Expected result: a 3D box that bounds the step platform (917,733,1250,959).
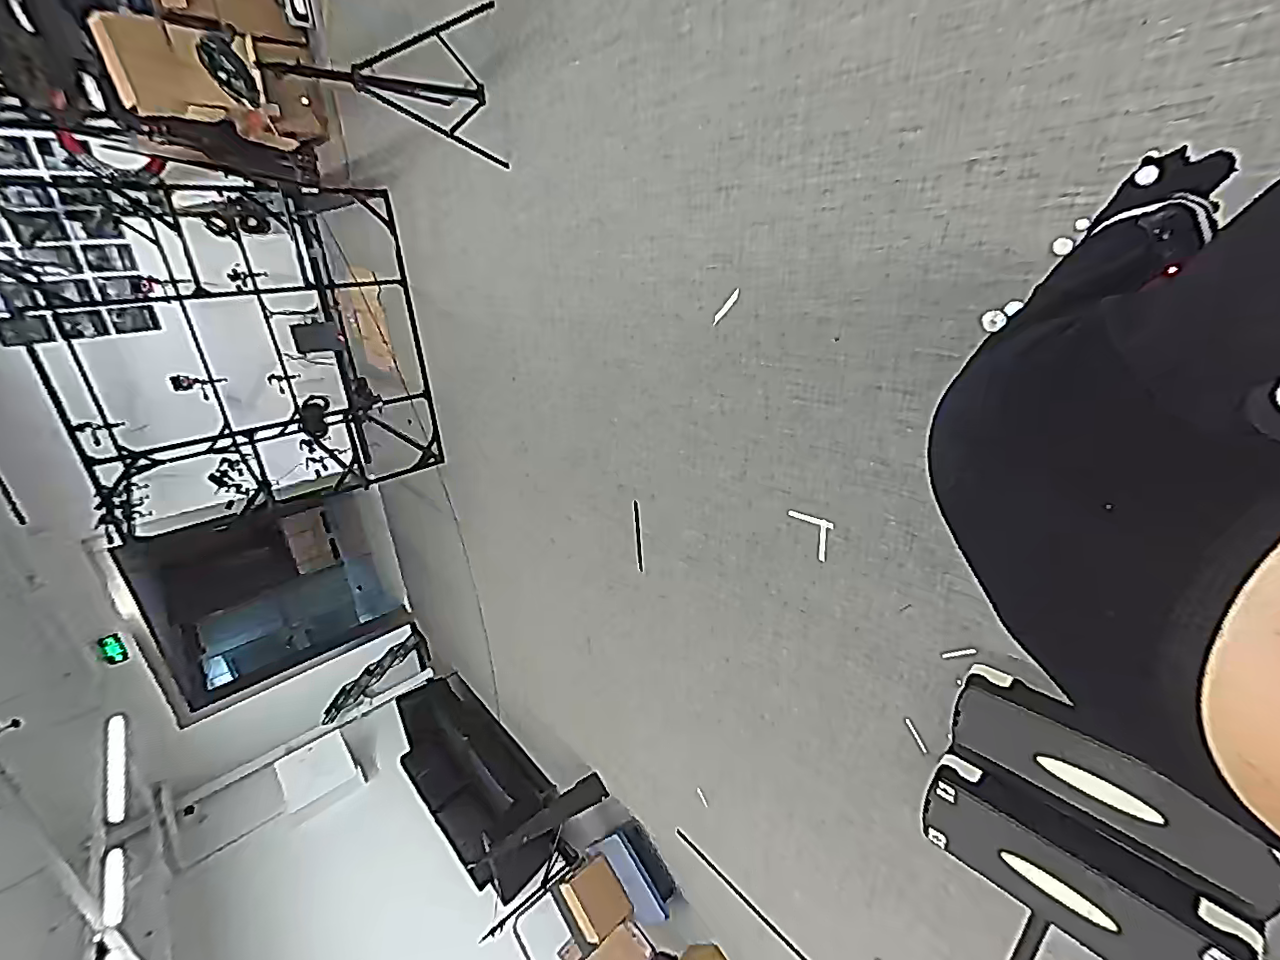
[{"bbox_3d":[1.134,1.020,1.471,0.684,0.204,0.286,21,123,46],"label":"step platform"}]
